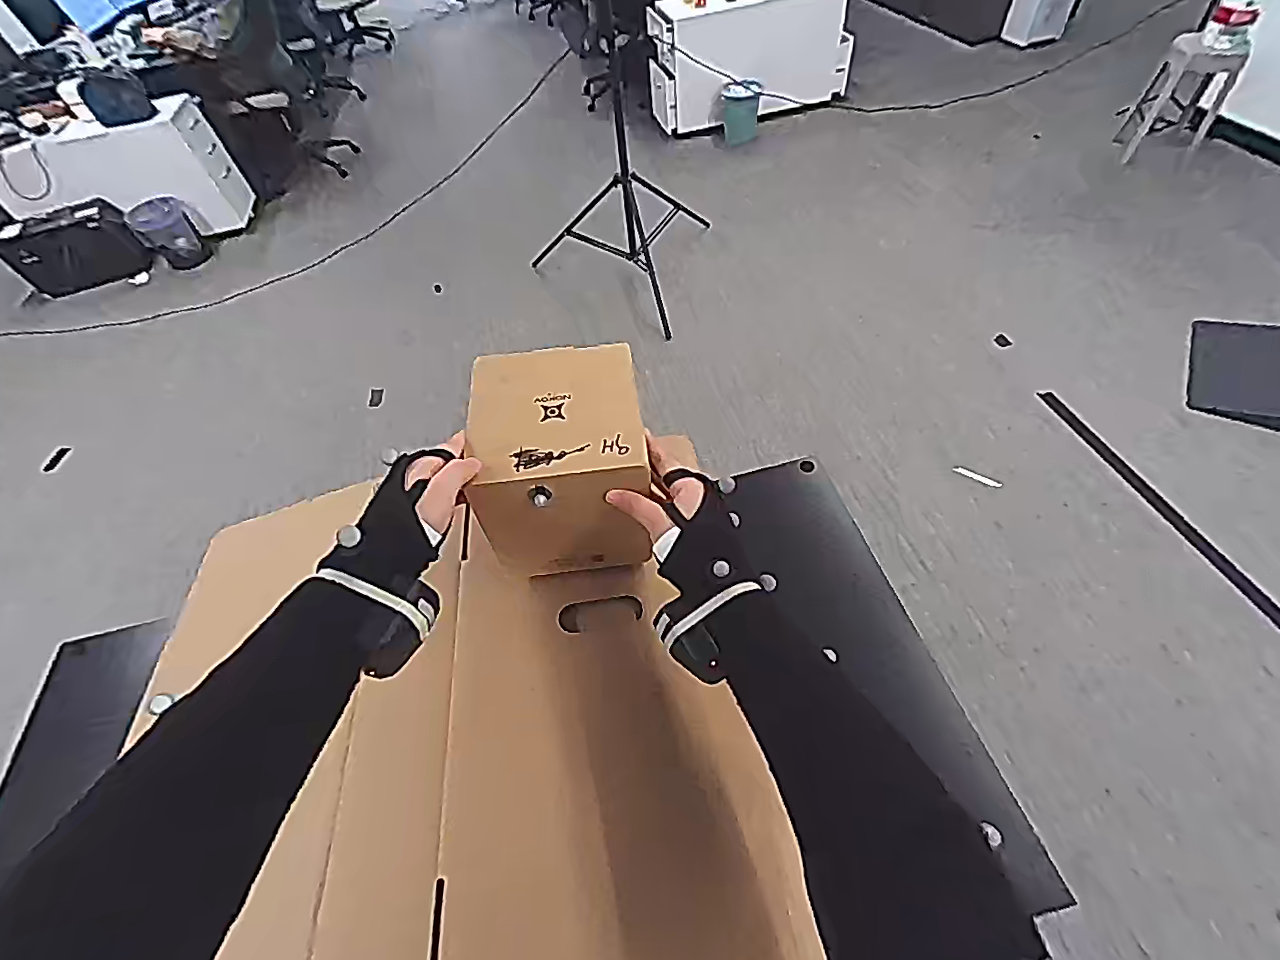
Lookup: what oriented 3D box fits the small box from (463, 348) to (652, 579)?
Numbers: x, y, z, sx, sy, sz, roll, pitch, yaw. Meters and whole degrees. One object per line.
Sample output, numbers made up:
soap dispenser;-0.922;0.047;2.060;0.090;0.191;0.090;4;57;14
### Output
small box;-0.078;-0.016;0.584;0.168;0.176;0.179;-7;51;-2
